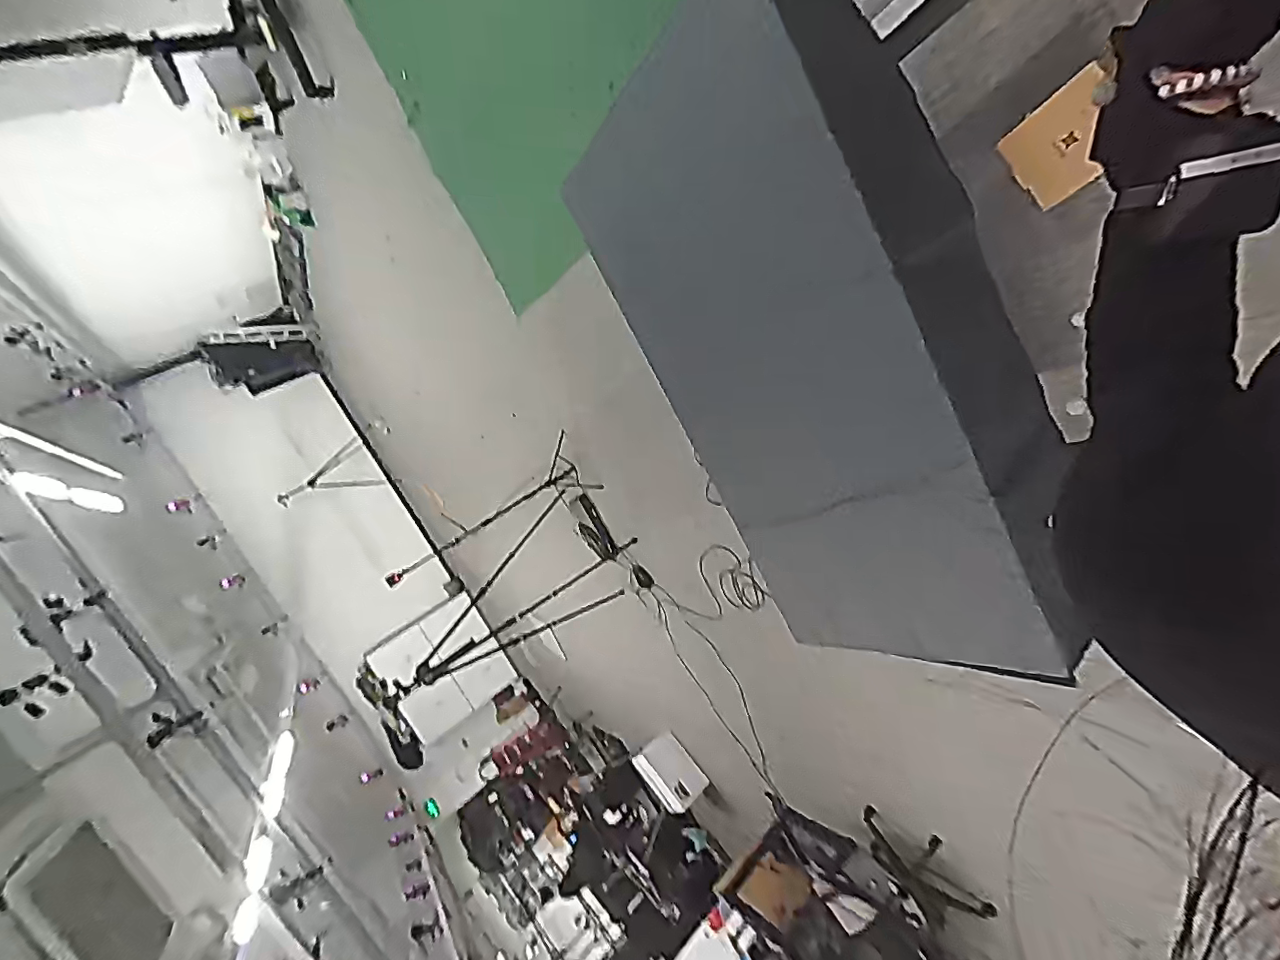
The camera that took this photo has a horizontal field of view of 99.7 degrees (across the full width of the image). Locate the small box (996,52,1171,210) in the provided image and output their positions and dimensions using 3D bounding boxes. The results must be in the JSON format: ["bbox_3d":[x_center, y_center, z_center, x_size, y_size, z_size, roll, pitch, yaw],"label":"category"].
[{"bbox_3d":[0.828,-0.651,1.014,0.168,0.176,0.179,54,152,1],"label":"small box"}]
